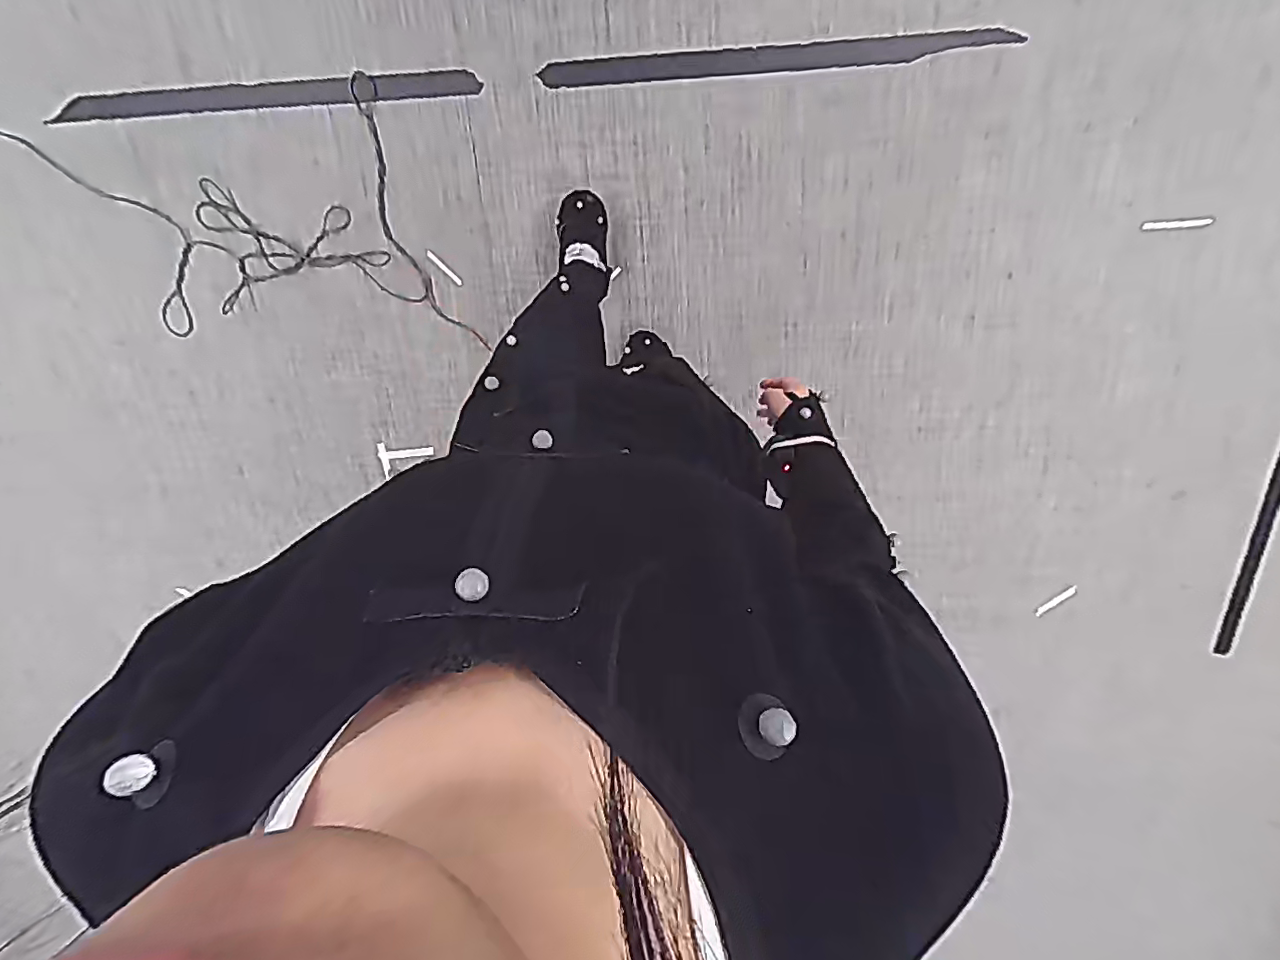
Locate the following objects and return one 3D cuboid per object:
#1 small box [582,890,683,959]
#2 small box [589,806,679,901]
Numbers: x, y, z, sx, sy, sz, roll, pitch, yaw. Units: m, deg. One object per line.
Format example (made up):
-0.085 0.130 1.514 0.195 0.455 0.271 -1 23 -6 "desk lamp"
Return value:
-0.013 0.833 0.913 0.168 0.176 0.179 1 110 2 "small box"
-0.012 0.778 1.068 0.168 0.176 0.179 1 109 2 "small box"
